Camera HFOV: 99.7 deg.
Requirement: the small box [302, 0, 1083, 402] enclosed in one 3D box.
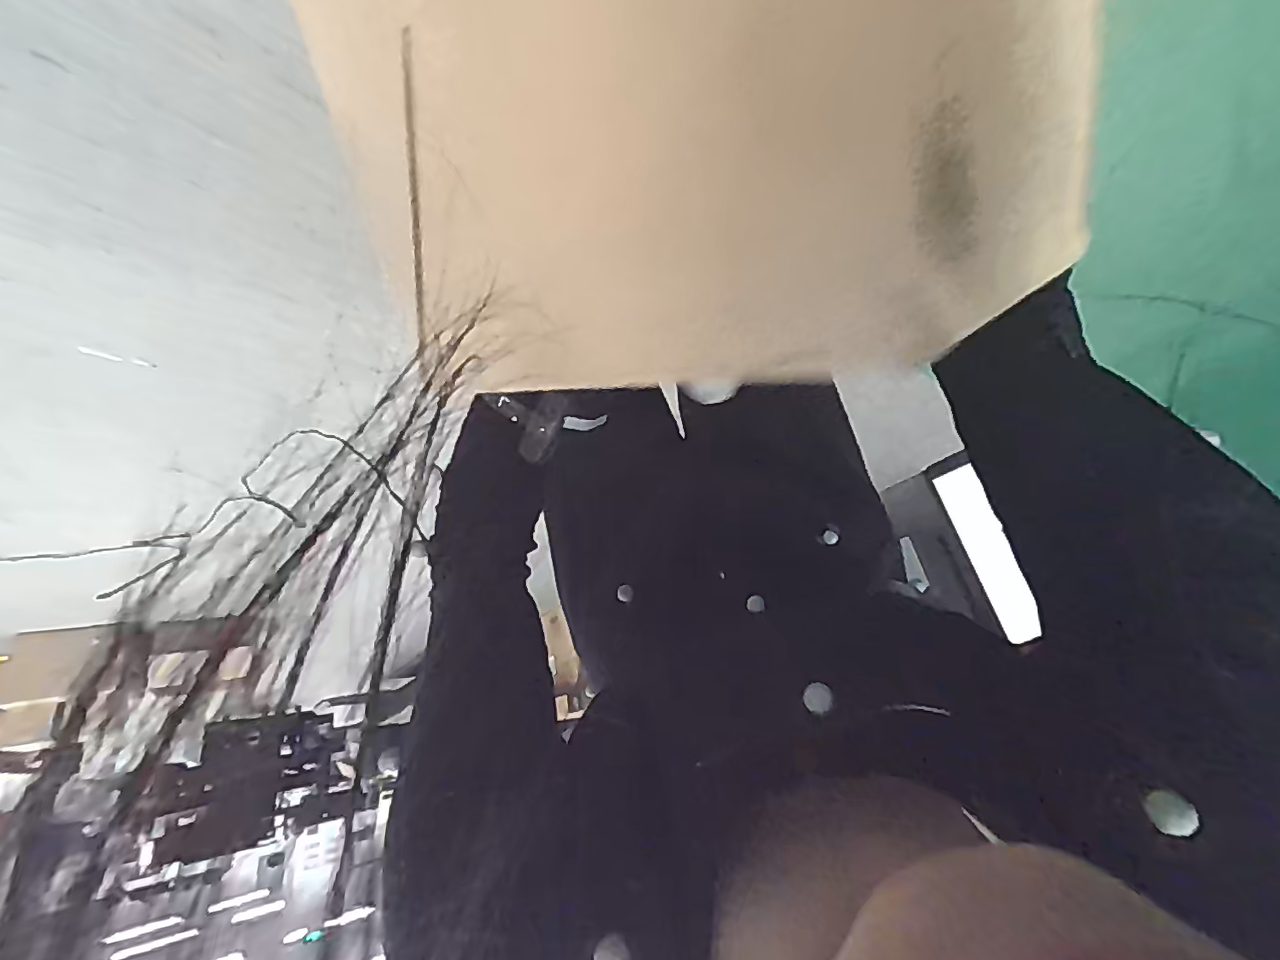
[{"bbox_3d":[0.018,-0.132,0.161,0.168,0.179,0.176,11,-151,44],"label":"small box"}]
